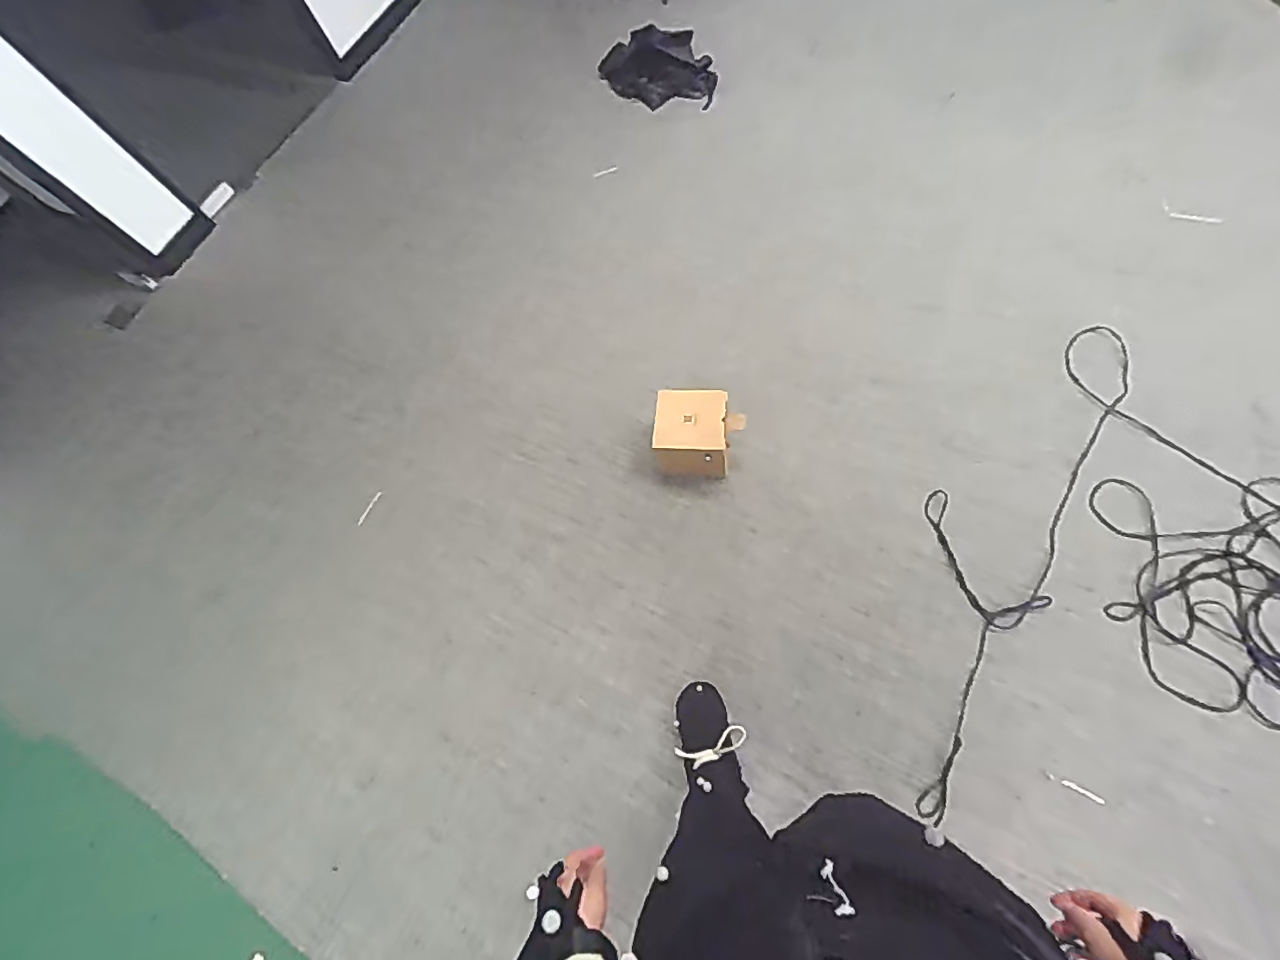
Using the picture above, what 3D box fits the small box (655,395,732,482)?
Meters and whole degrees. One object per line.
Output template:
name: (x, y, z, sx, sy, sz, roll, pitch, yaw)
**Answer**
small box: (0.142, -0.102, 1.381, 0.179, 0.176, 0.168, 2, 67, 11)
